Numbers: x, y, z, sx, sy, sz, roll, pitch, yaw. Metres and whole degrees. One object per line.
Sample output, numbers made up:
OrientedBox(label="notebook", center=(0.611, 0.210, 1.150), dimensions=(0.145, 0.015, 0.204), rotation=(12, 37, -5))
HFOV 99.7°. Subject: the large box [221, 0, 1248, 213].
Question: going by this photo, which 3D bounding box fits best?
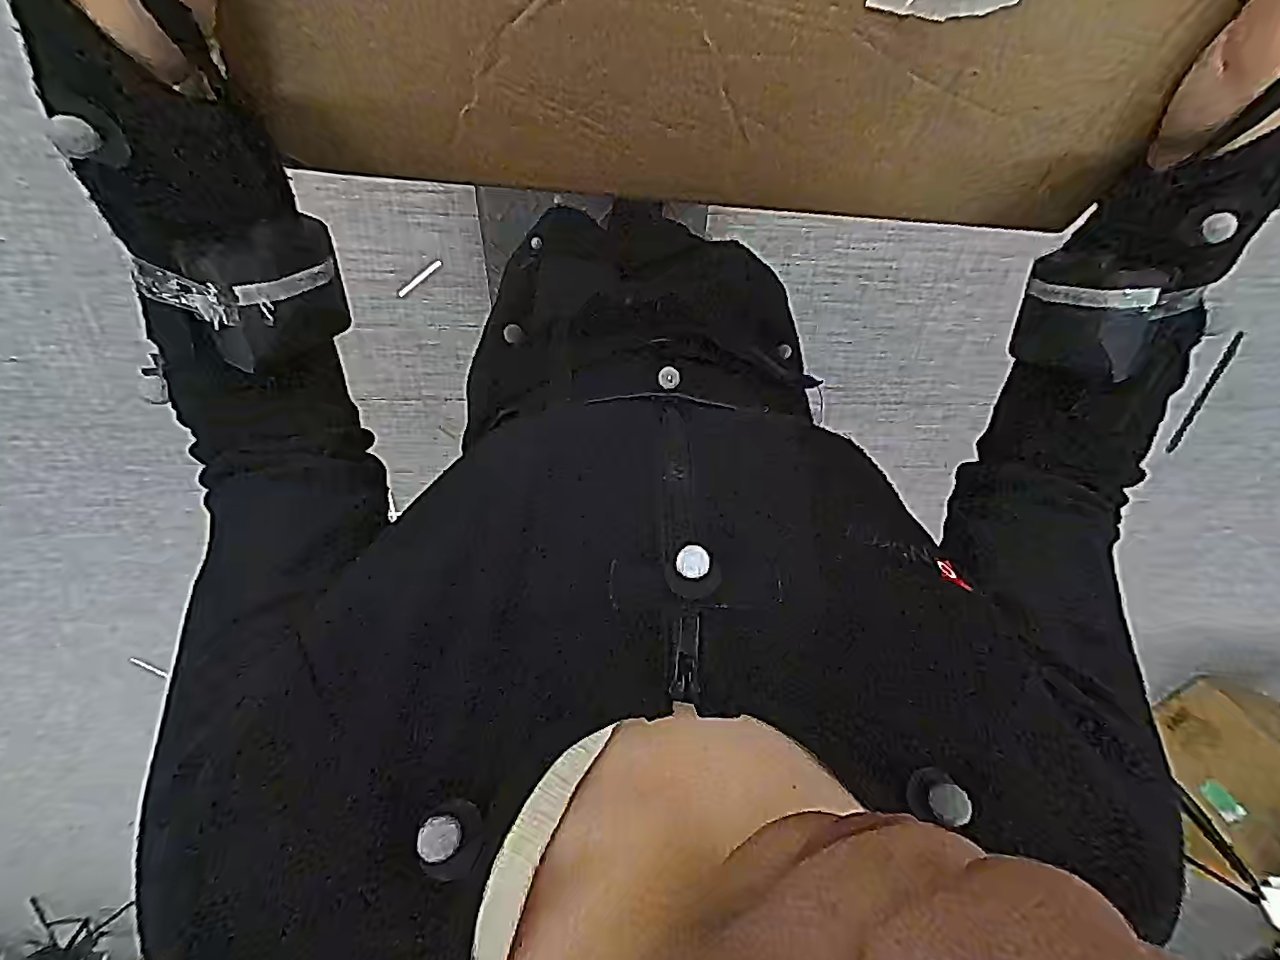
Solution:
OrientedBox(label="large box", center=(0.041, -0.348, 0.212), dimensions=(0.408, 0.320, 0.320), rotation=(-1, 156, -7))
